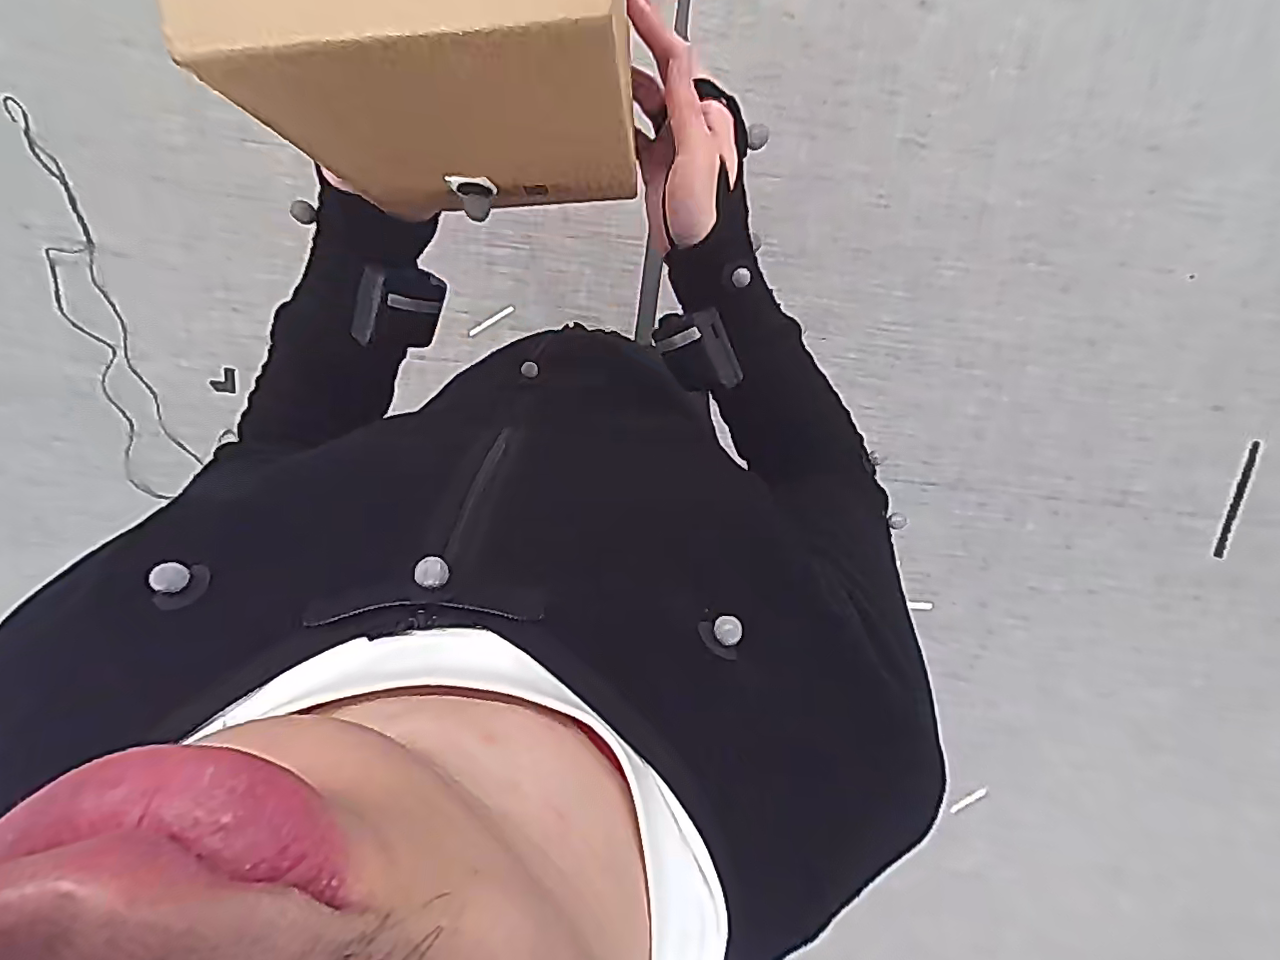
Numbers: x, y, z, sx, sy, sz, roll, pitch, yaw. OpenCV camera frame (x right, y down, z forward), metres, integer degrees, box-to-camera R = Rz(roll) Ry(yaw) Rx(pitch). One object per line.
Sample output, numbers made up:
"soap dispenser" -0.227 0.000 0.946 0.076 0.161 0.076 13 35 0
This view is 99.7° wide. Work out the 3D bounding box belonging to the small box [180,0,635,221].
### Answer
"small box" -0.092 -0.256 0.274 0.168 0.176 0.179 -3 97 3
